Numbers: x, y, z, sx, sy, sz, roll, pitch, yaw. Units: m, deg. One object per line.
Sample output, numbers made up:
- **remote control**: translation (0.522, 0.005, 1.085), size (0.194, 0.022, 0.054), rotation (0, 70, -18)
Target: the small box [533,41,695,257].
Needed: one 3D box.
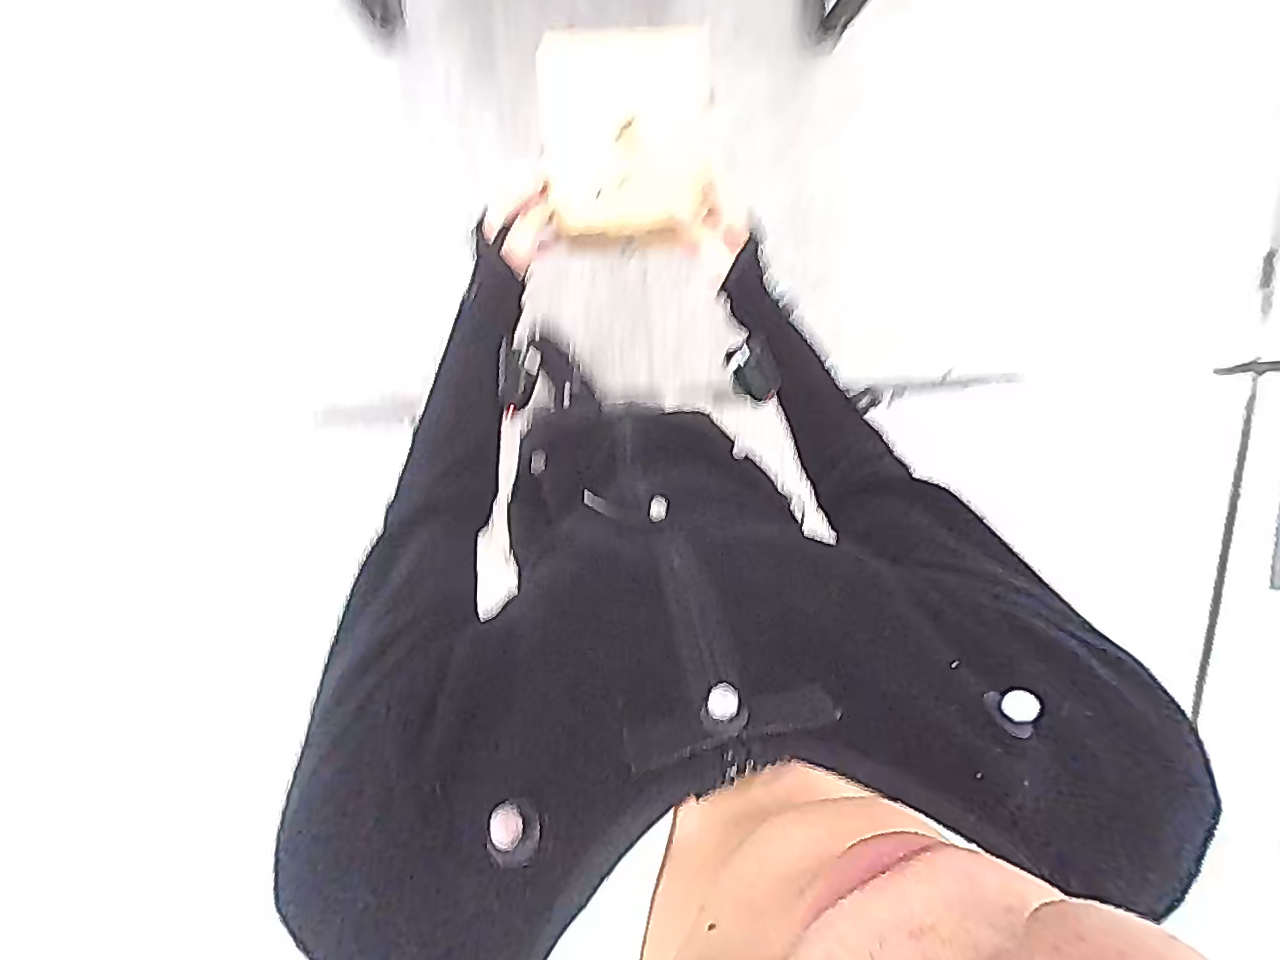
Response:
- **small box**: translation (-0.029, -0.374, 0.640), size (0.168, 0.176, 0.179), rotation (-3, 104, -2)
